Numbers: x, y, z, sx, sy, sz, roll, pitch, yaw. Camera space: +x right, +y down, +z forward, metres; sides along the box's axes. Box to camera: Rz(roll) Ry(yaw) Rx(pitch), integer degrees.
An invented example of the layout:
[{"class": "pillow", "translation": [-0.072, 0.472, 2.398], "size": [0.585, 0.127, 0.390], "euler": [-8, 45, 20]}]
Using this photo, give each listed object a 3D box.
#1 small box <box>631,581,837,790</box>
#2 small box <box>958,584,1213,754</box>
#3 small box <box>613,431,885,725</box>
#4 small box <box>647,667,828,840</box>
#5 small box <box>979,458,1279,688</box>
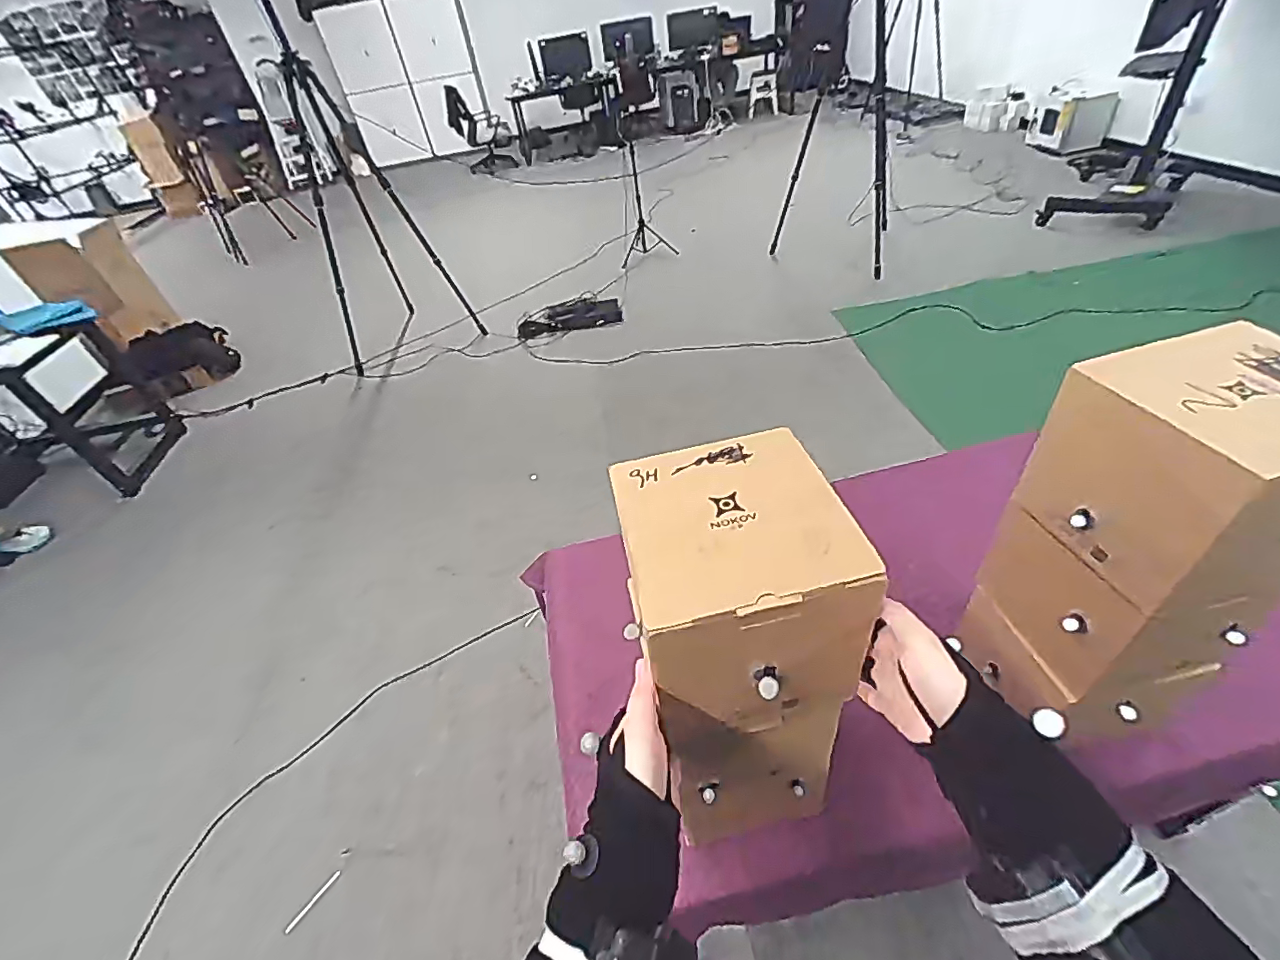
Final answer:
[{"class": "small box", "translation": [0.095, 0.206, 0.580], "size": [0.168, 0.176, 0.179], "euler": [-13, 40, -3]}, {"class": "small box", "translation": [0.546, 0.230, 0.702], "size": [0.179, 0.176, 0.168], "euler": [-12, 42, -1]}, {"class": "small box", "translation": [0.080, 0.088, 0.465], "size": [0.168, 0.176, 0.179], "euler": [-12, 42, -3]}, {"class": "small box", "translation": [0.117, 0.328, 0.688], "size": [0.179, 0.176, 0.168], "euler": [-13, 42, -3]}, {"class": "small box", "translation": [0.522, 0.107, 0.597], "size": [0.168, 0.176, 0.179], "euler": [-13, 41, -3]}]
